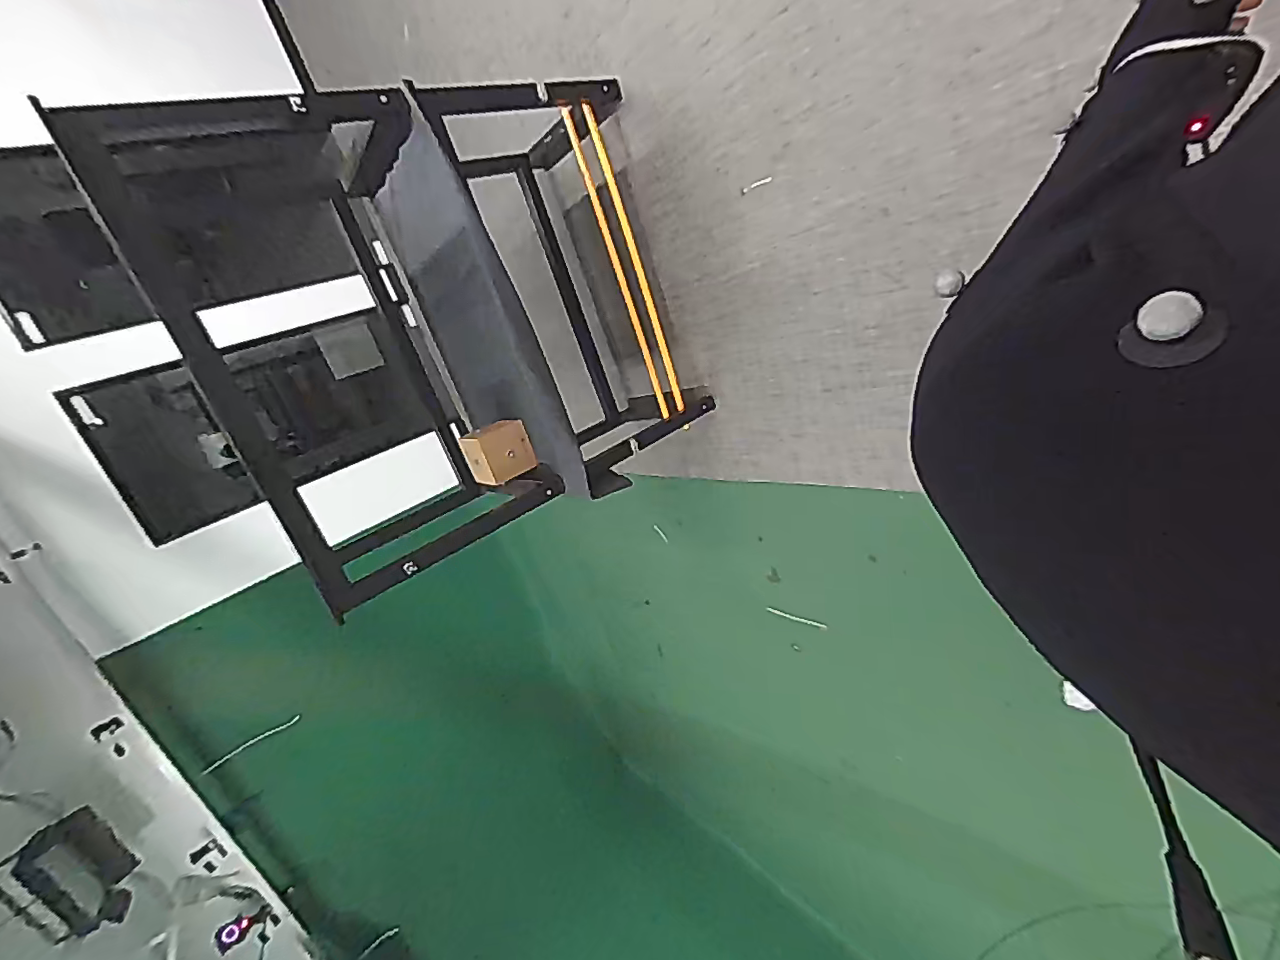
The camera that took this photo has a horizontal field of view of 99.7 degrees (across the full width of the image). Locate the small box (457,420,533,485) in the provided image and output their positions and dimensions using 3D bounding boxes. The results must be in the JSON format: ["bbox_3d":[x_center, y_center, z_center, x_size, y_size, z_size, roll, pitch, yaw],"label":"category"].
[{"bbox_3d":[-0.480,-0.098,1.821,0.179,0.176,0.168,7,121,52],"label":"small box"}]
